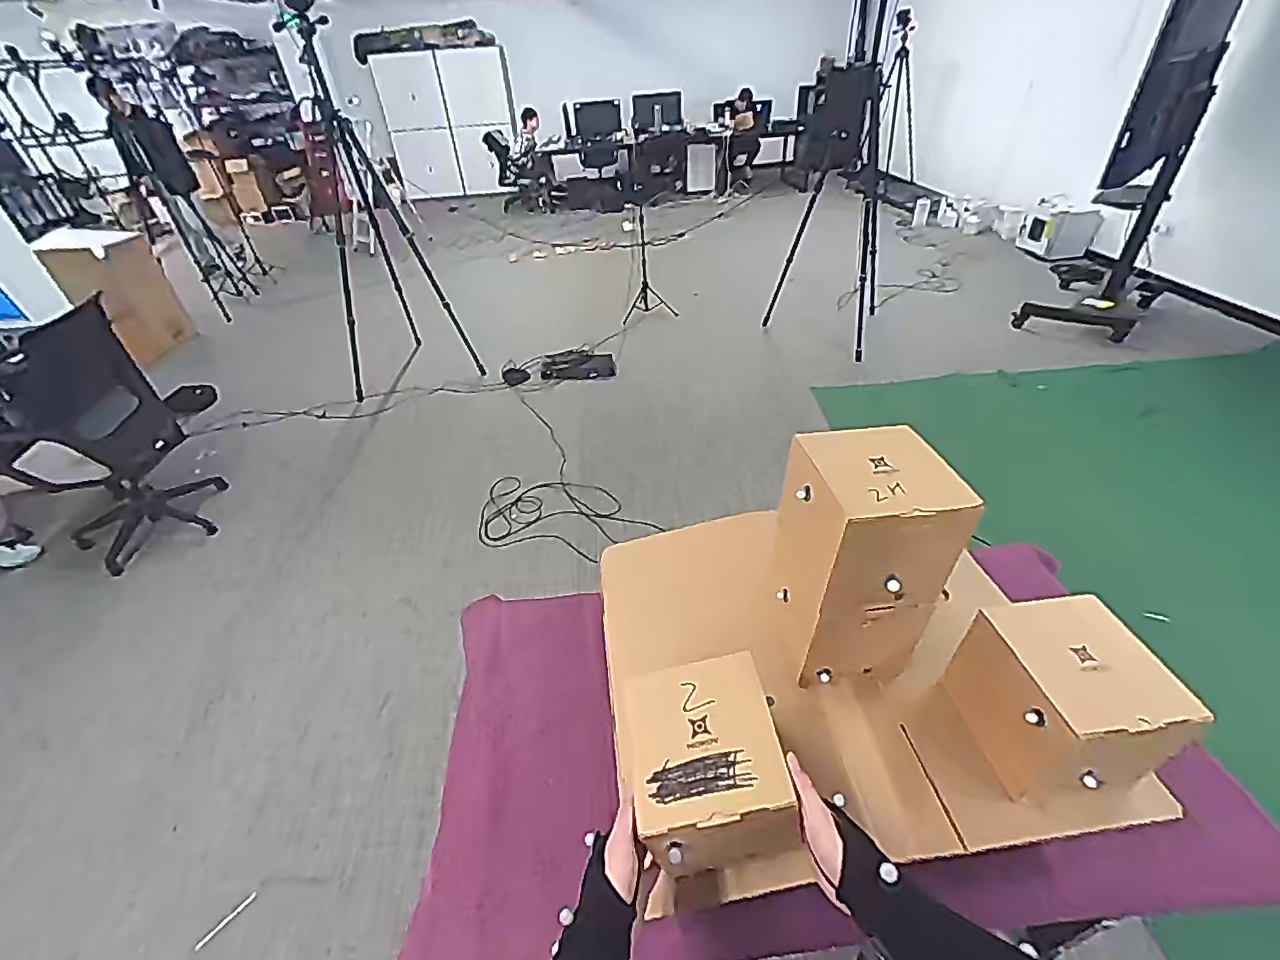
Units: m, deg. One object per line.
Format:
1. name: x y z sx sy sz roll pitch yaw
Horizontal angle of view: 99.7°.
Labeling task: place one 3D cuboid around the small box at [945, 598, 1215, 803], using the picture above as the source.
1. small box: 0.531 0.278 0.690 0.168 0.176 0.179 -5 39 -5

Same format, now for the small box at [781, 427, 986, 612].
1. small box: 0.298 0.049 0.713 0.168 0.176 0.179 -5 39 -6

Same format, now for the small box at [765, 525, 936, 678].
1. small box: 0.300 0.180 0.813 0.168 0.176 0.179 -4 38 -6
